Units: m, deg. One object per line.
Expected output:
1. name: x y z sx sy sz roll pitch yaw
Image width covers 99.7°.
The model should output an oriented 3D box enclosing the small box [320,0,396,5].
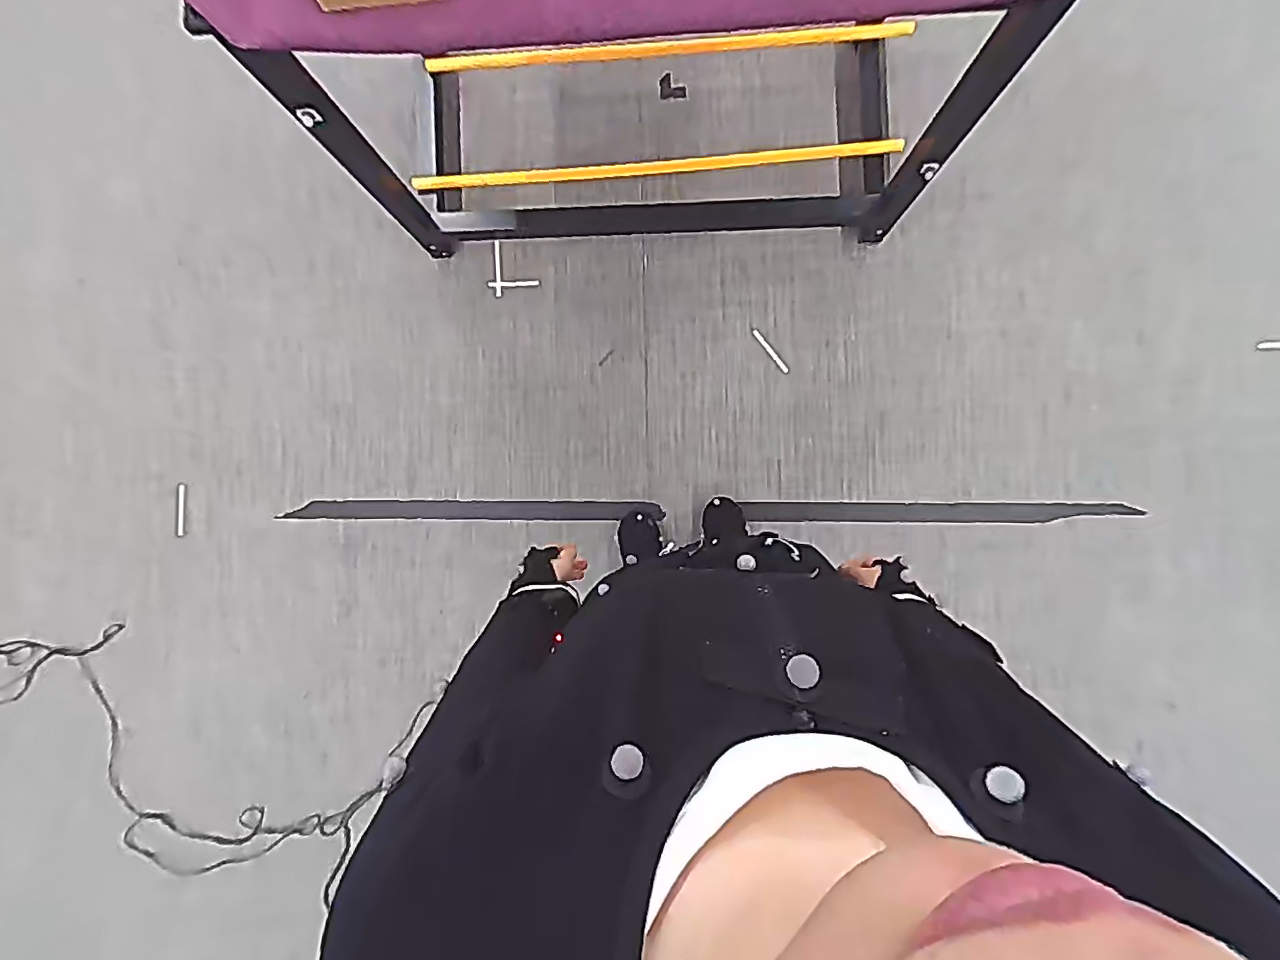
1. small box: -0.343 -0.707 0.631 0.179 0.176 0.168 -5 87 2
